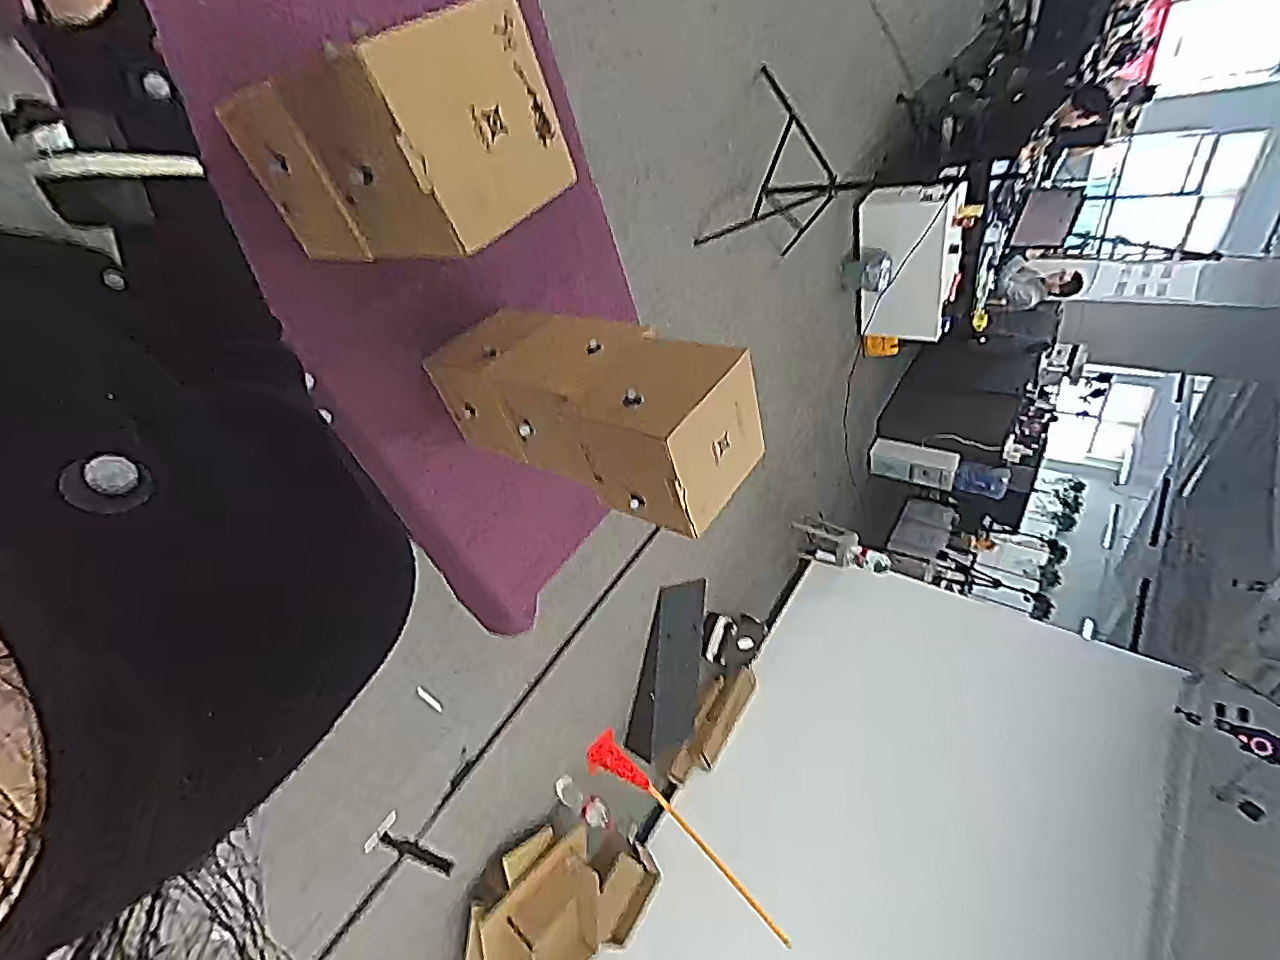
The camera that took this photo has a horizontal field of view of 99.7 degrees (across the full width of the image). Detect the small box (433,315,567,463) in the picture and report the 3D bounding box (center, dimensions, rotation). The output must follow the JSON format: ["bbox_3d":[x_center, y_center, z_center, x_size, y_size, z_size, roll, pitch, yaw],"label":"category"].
[{"bbox_3d":[-0.210,-0.156,0.890,0.179,0.176,0.168,-47,138,-31],"label":"small box"}]

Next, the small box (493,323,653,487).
[{"bbox_3d":[-0.080,-0.117,0.797,0.179,0.176,0.168,-47,136,-30],"label":"small box"}]

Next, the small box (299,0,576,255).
[{"bbox_3d":[-0.203,-0.342,0.545,0.179,0.176,0.168,-51,139,-28],"label":"small box"}]

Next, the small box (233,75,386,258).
[{"bbox_3d":[-0.334,-0.375,0.638,0.179,0.176,0.168,-49,138,-30],"label":"small box"}]

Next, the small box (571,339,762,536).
[{"bbox_3d":[0.033,-0.062,0.693,0.179,0.176,0.168,-50,139,-29],"label":"small box"}]
